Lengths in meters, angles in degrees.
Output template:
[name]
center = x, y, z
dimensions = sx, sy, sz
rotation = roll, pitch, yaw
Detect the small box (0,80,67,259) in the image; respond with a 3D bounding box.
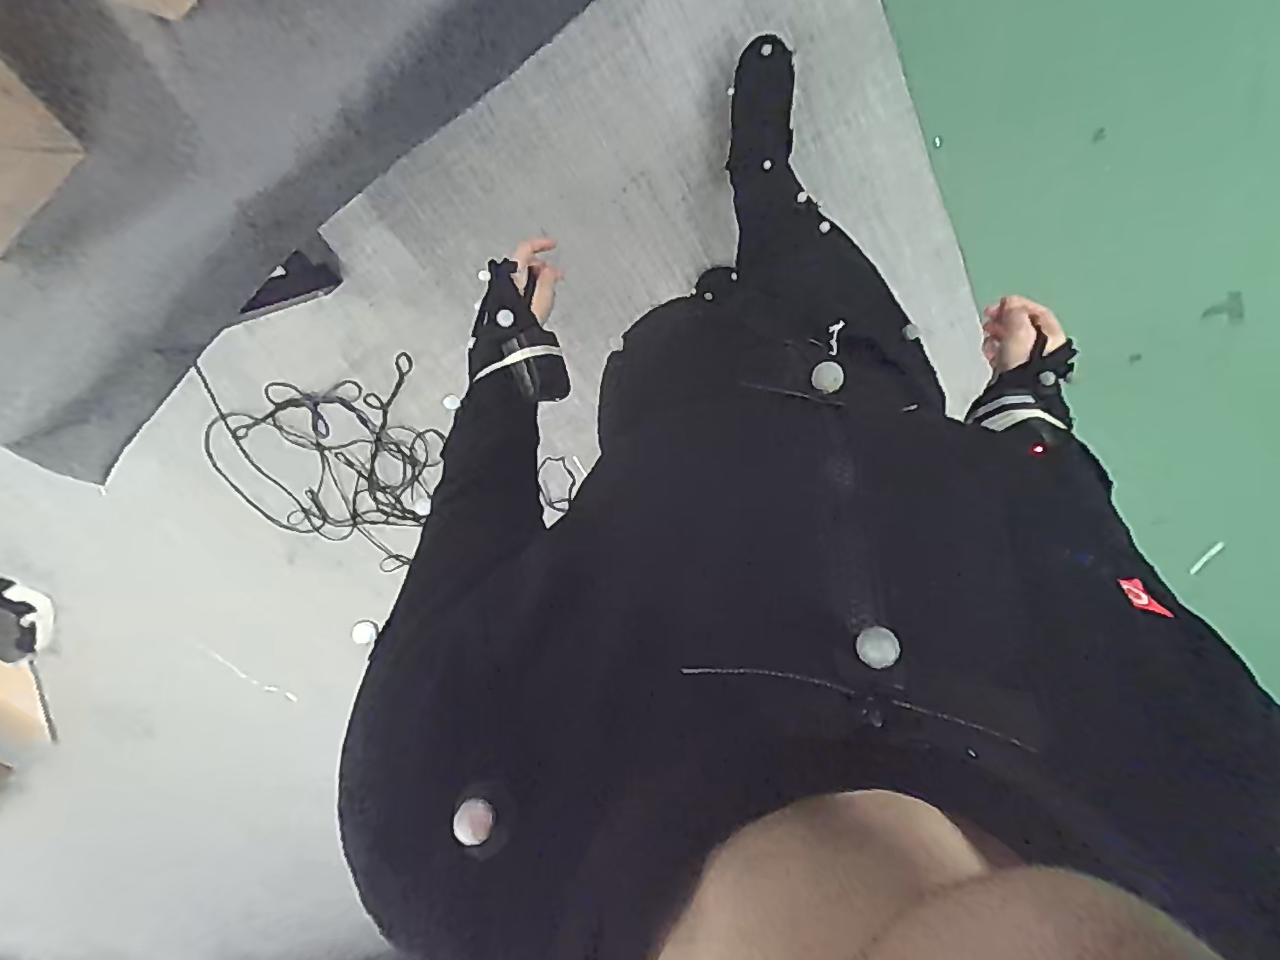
[small box]
center = -0.614, -0.272, 0.408
dimensions = 0.179, 0.176, 0.168
rotation = -29, 112, 18
